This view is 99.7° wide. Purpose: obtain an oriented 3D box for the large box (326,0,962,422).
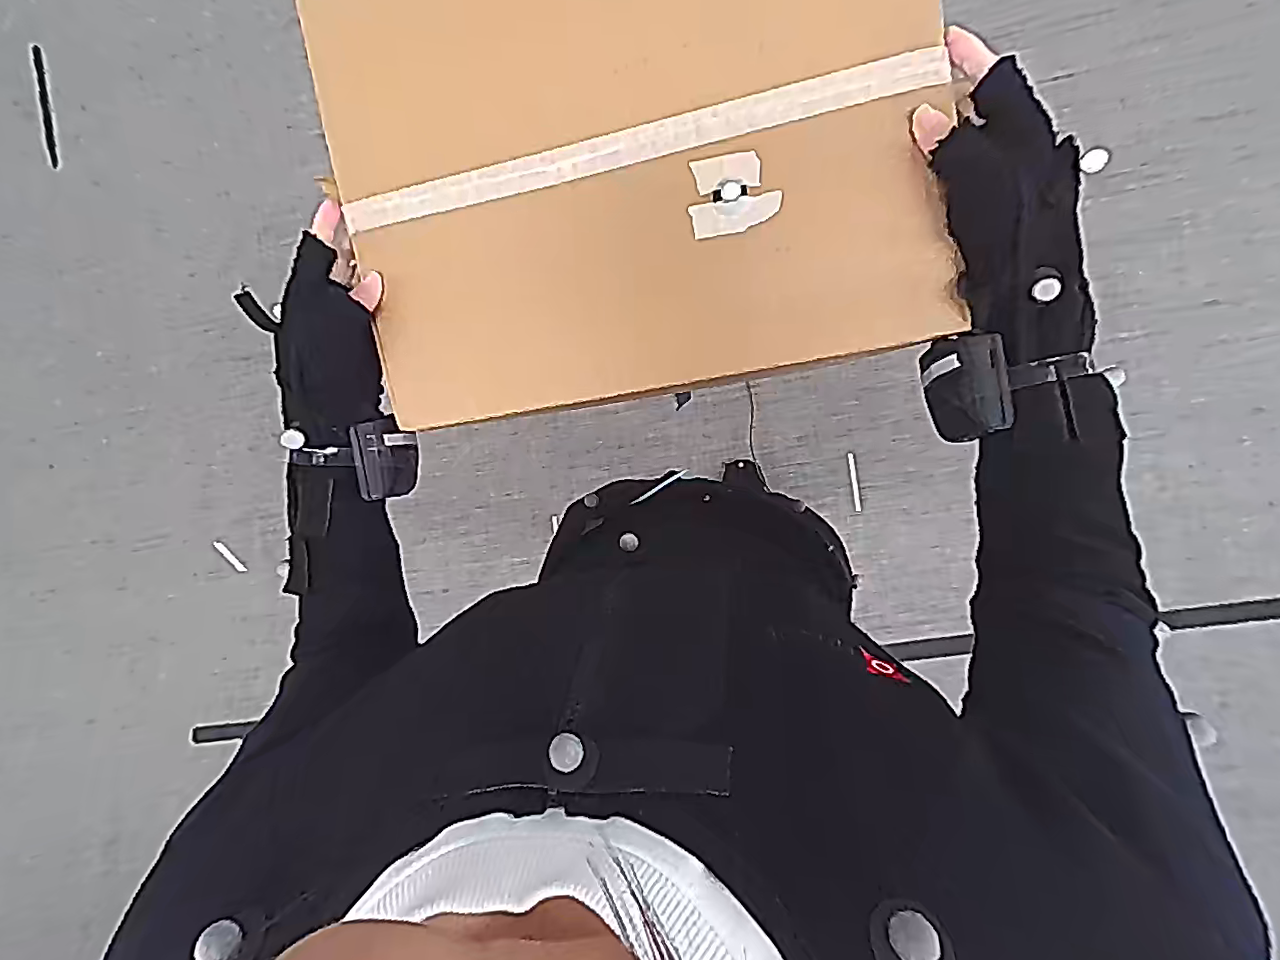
[{"bbox_3d":[0.013,-0.247,0.516,0.408,0.320,0.320,-9,99,9],"label":"large box"}]
